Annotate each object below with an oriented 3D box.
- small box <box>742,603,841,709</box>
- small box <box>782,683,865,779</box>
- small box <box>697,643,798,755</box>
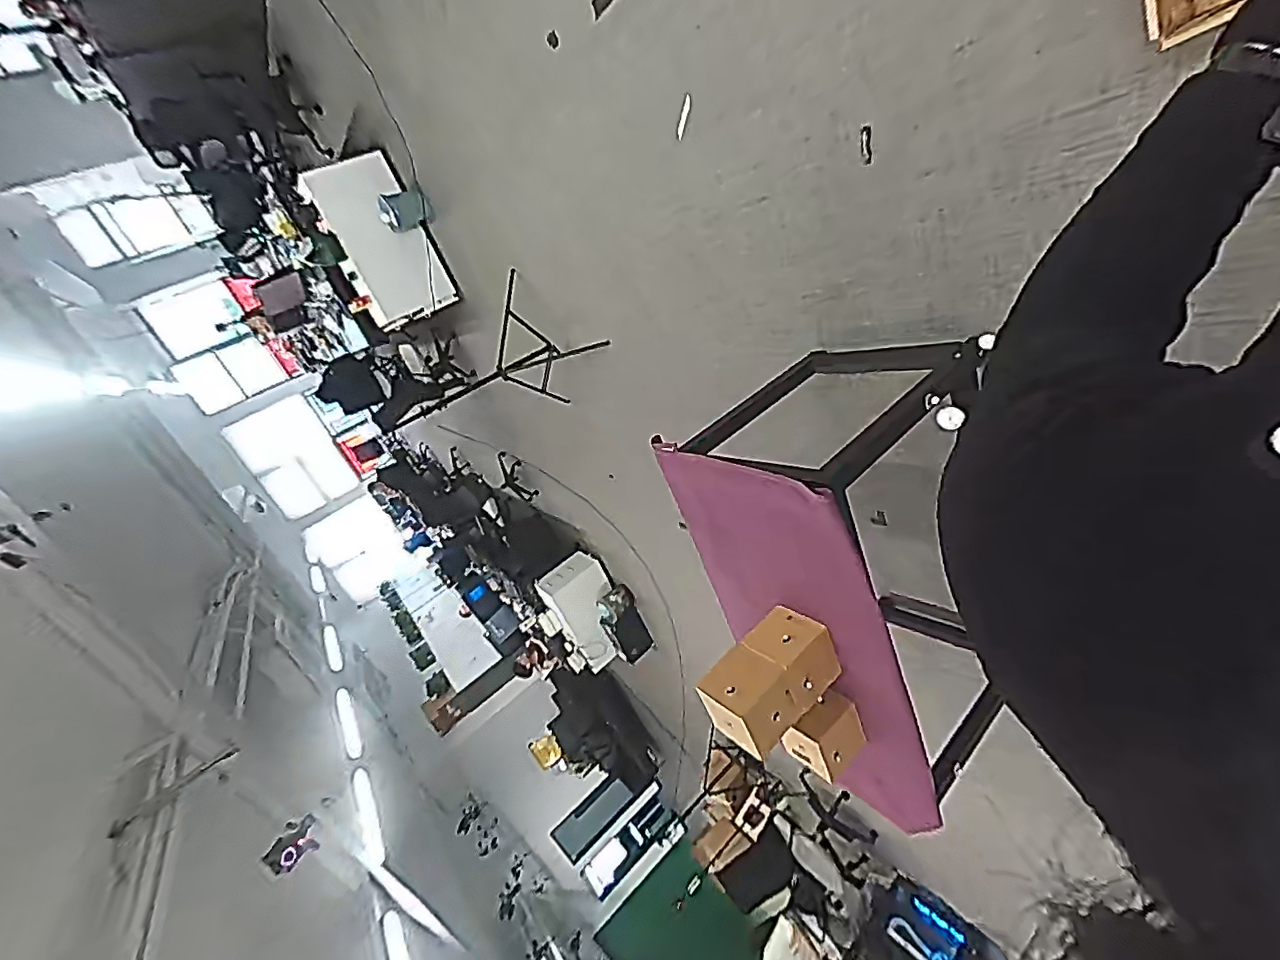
[{"bbox_3d":[0.408,0.461,1.448,0.168,0.176,0.179,15,136,55],"label":"small box"},{"bbox_3d":[0.520,0.701,1.555,0.168,0.176,0.179,14,134,55],"label":"small box"},{"bbox_3d":[0.284,0.554,1.391,0.179,0.176,0.168,16,136,55],"label":"small box"}]
